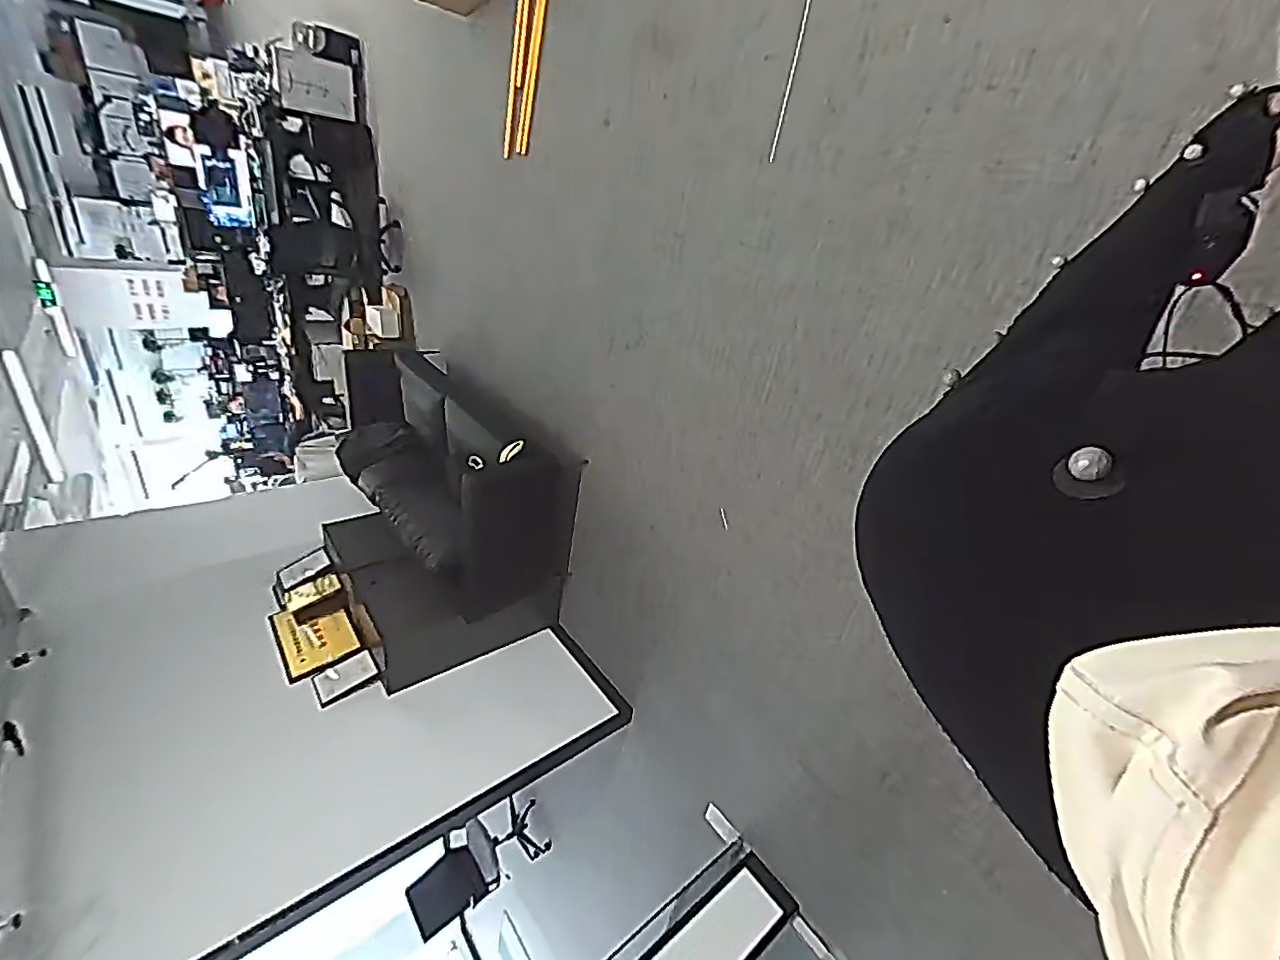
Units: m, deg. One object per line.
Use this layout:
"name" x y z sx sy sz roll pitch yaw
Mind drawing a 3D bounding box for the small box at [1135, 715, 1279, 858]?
"small box" 1.225 0.645 1.152 0.168 0.176 0.179 41 132 36
